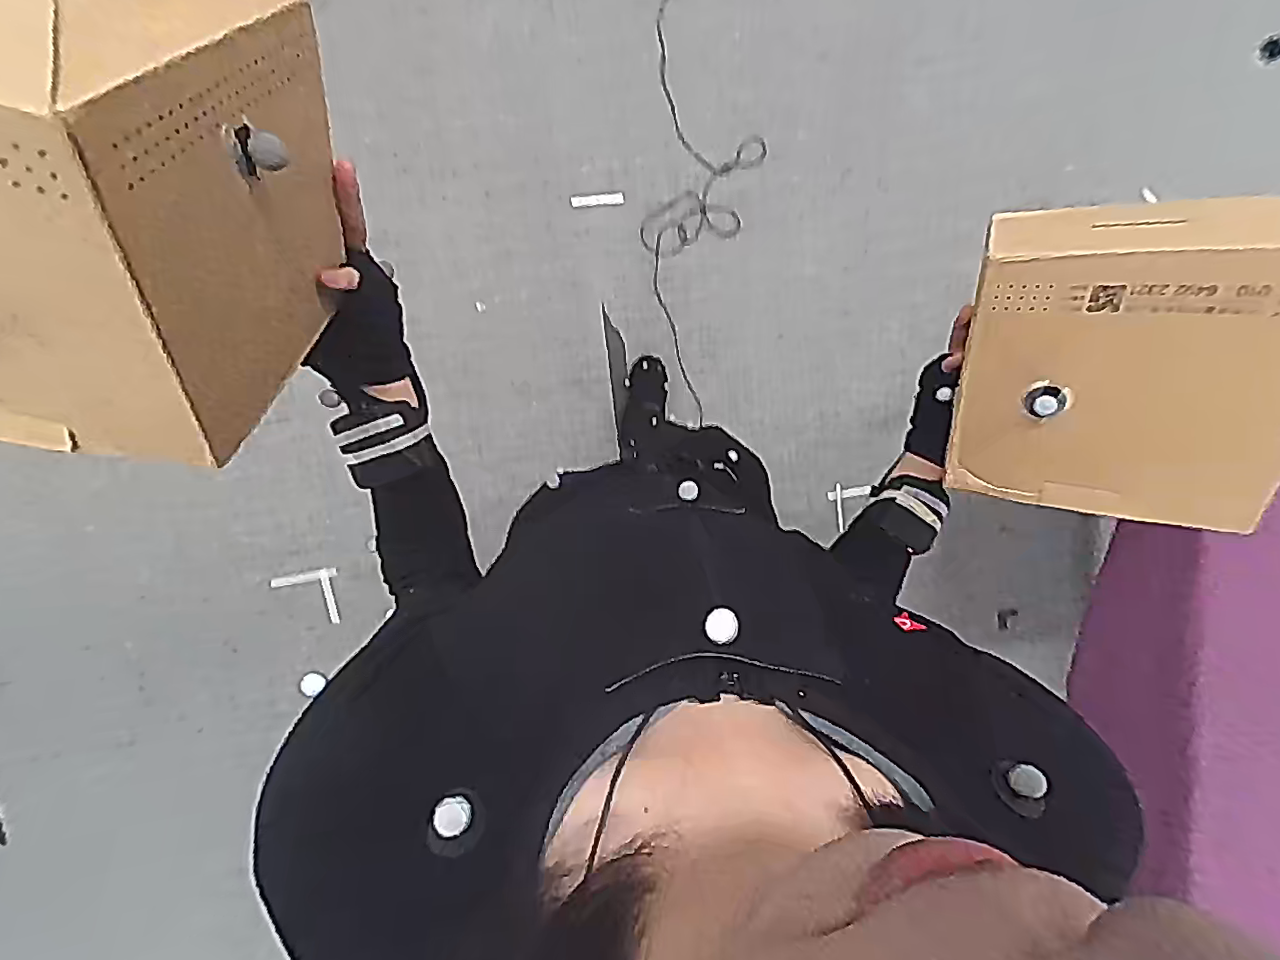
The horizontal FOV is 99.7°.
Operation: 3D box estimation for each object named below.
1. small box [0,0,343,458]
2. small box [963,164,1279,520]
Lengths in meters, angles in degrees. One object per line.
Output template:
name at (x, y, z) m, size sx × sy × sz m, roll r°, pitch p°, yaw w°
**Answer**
small box at (-0.256, -0.139, 0.232) m, size 0.168 × 0.179 × 0.176 m, roll 12°, pitch 140°, yaw -11°
small box at (0.326, -0.101, 0.362) m, size 0.168 × 0.179 × 0.176 m, roll 11°, pitch 126°, yaw 28°
